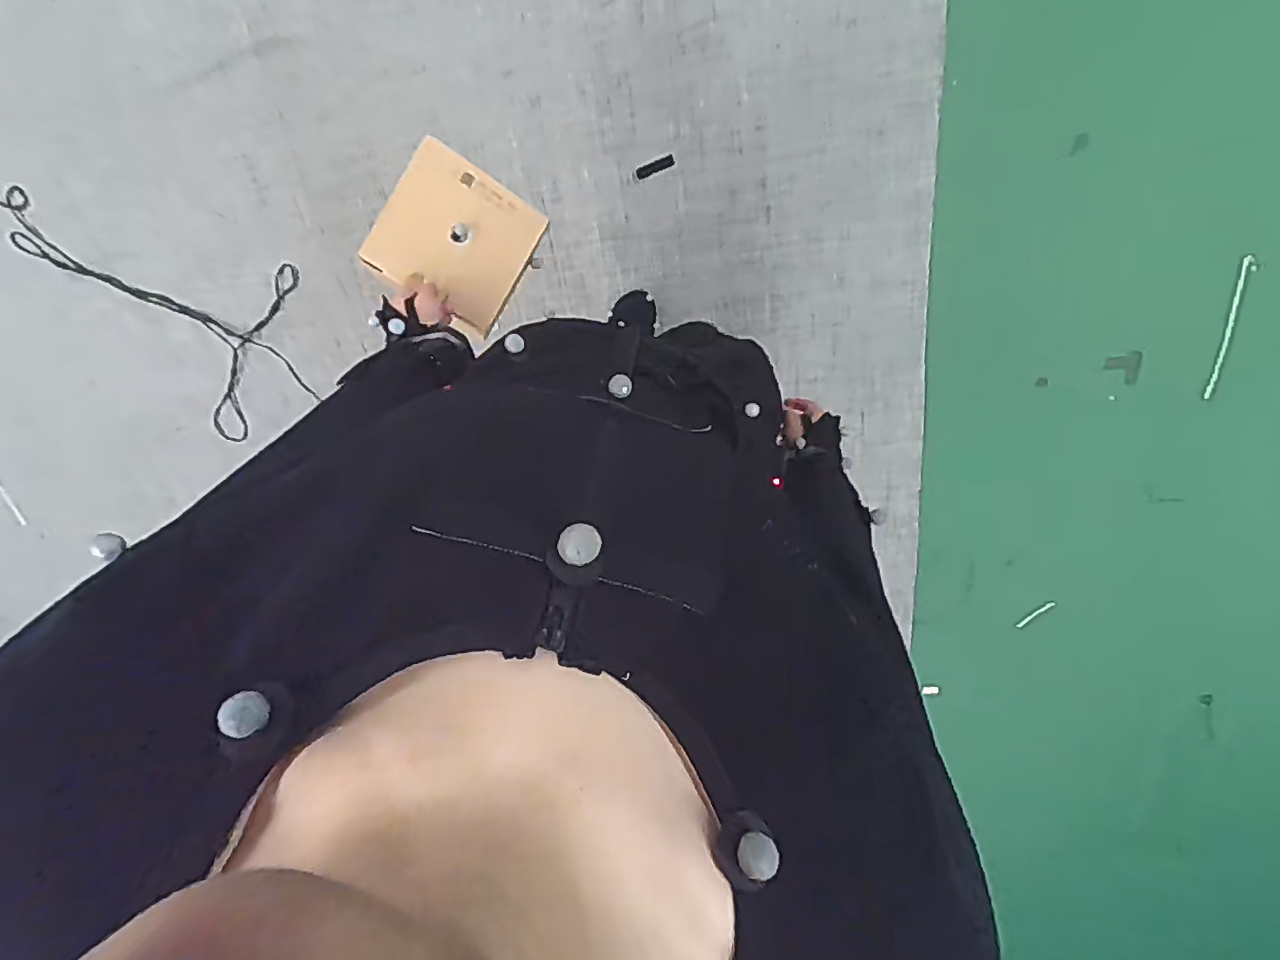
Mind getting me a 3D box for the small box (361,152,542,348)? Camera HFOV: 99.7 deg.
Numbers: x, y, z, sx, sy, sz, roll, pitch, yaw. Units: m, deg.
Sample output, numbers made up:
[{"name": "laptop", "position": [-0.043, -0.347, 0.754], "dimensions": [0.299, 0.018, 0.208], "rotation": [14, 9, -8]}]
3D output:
[{"name": "small box", "position": [-0.249, -0.300, 0.736], "dimensions": [0.168, 0.179, 0.176], "rotation": [28, 90, -20]}]
